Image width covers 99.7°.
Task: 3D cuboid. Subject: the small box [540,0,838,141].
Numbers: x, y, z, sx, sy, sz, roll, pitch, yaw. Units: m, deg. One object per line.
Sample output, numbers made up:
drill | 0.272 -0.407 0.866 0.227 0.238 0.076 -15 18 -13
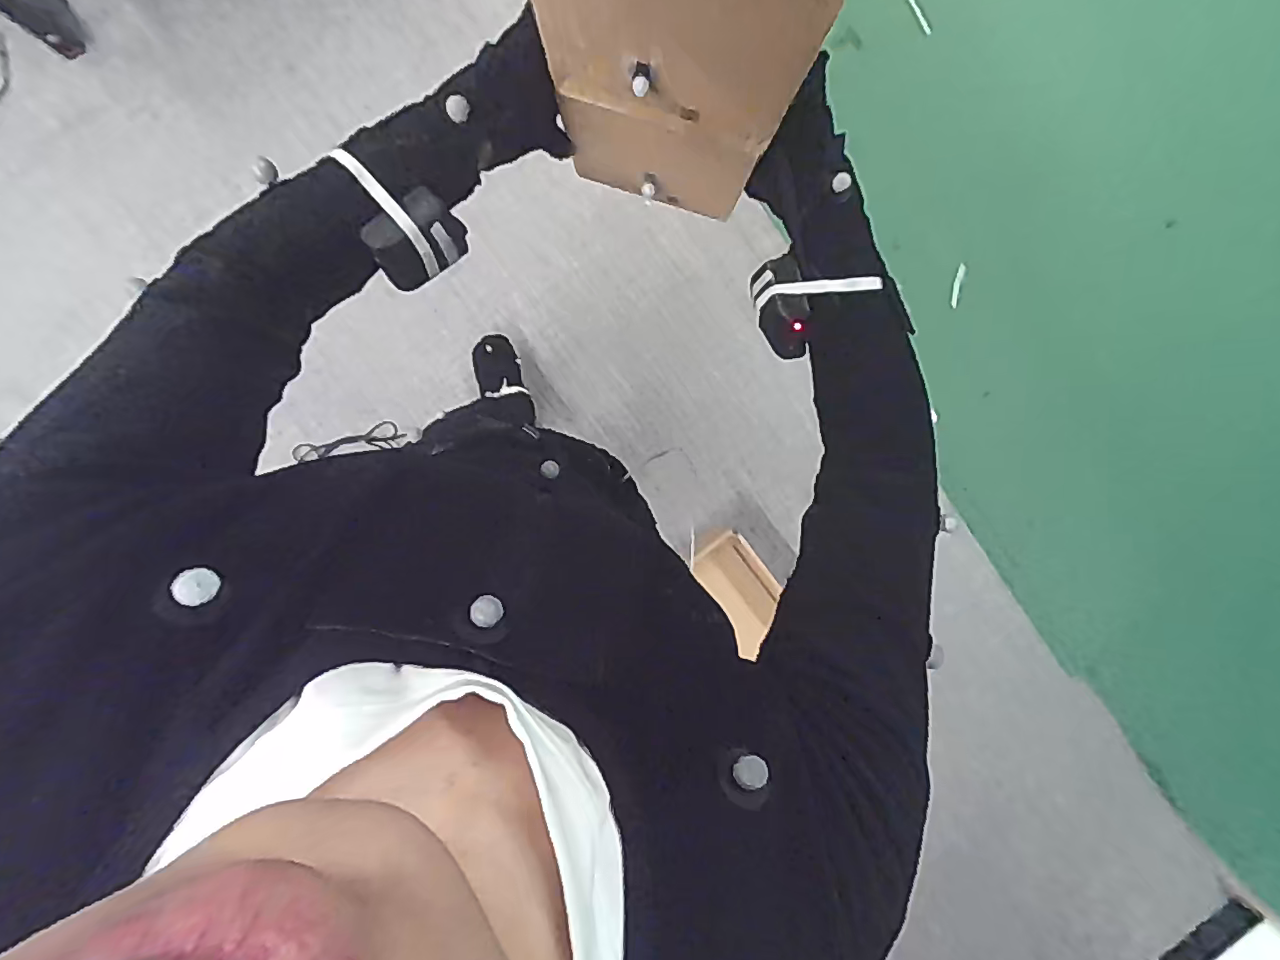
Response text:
small box | 0.035 -0.338 0.307 0.168 0.176 0.179 14 100 -3

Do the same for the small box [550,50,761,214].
small box | 0.033 -0.365 0.467 0.168 0.176 0.179 16 99 -3
